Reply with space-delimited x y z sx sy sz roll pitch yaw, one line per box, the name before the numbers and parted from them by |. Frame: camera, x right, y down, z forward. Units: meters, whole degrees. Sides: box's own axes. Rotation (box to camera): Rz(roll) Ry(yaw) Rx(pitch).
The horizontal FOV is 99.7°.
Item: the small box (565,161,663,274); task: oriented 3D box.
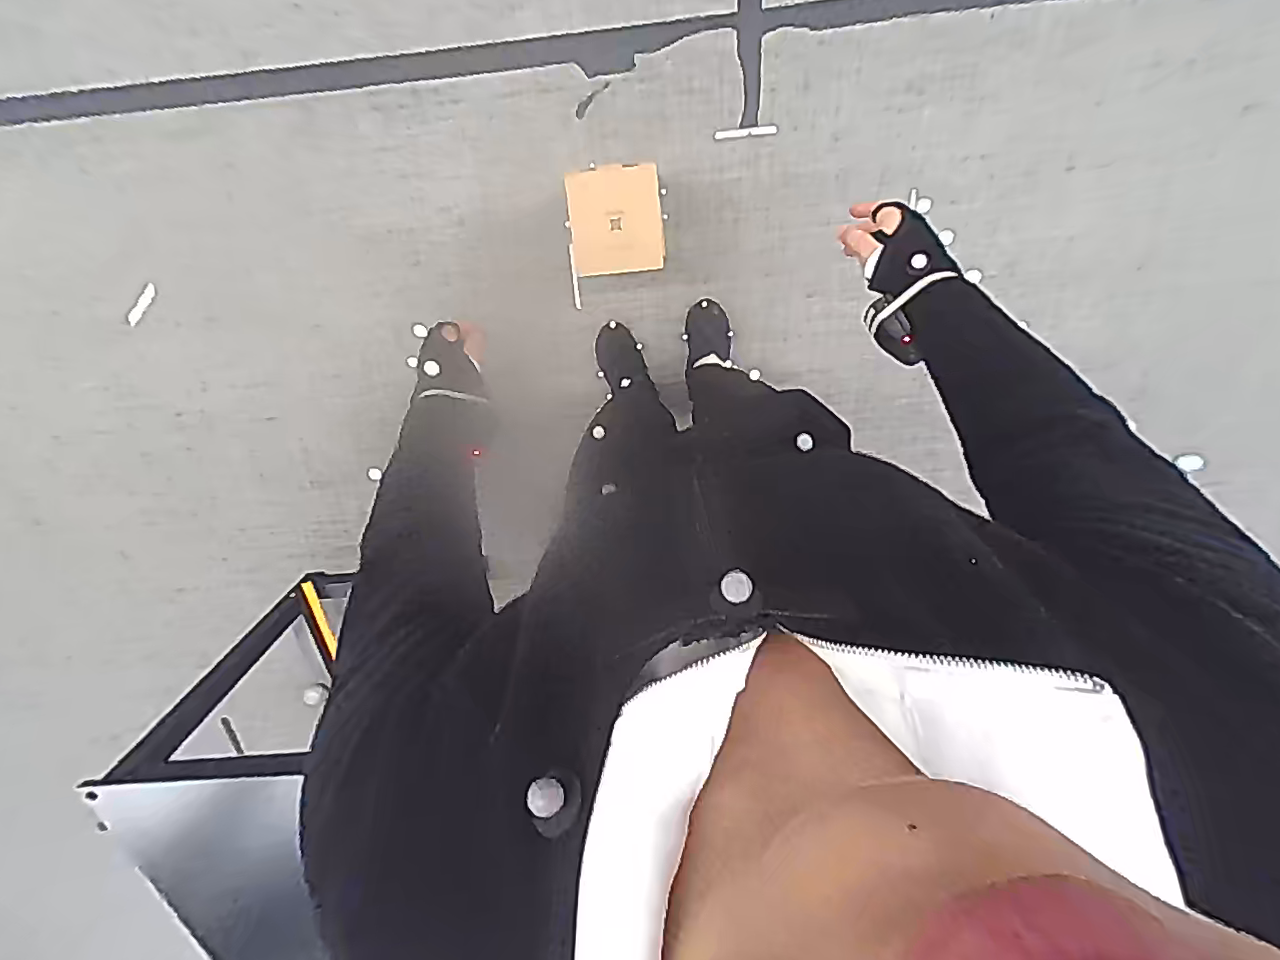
small box | -0.045 -0.505 1.051 0.168 0.176 0.179 -4 116 4
